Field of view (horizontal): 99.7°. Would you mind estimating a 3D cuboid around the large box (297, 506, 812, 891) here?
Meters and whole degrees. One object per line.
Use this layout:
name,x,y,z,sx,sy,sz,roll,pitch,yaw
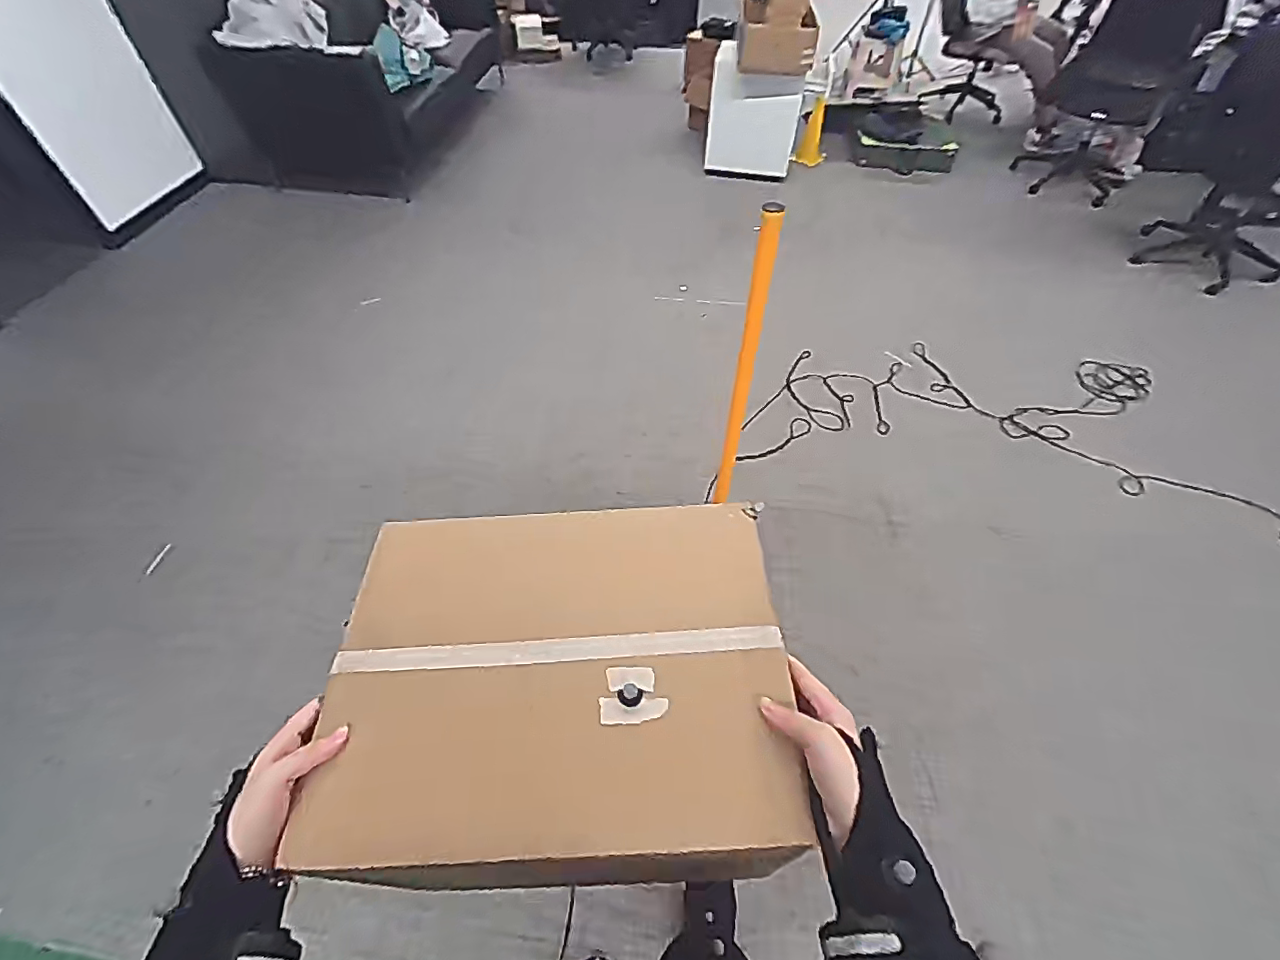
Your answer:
large box,-0.071,0.254,0.619,0.408,0.320,0.320,-3,51,-1
